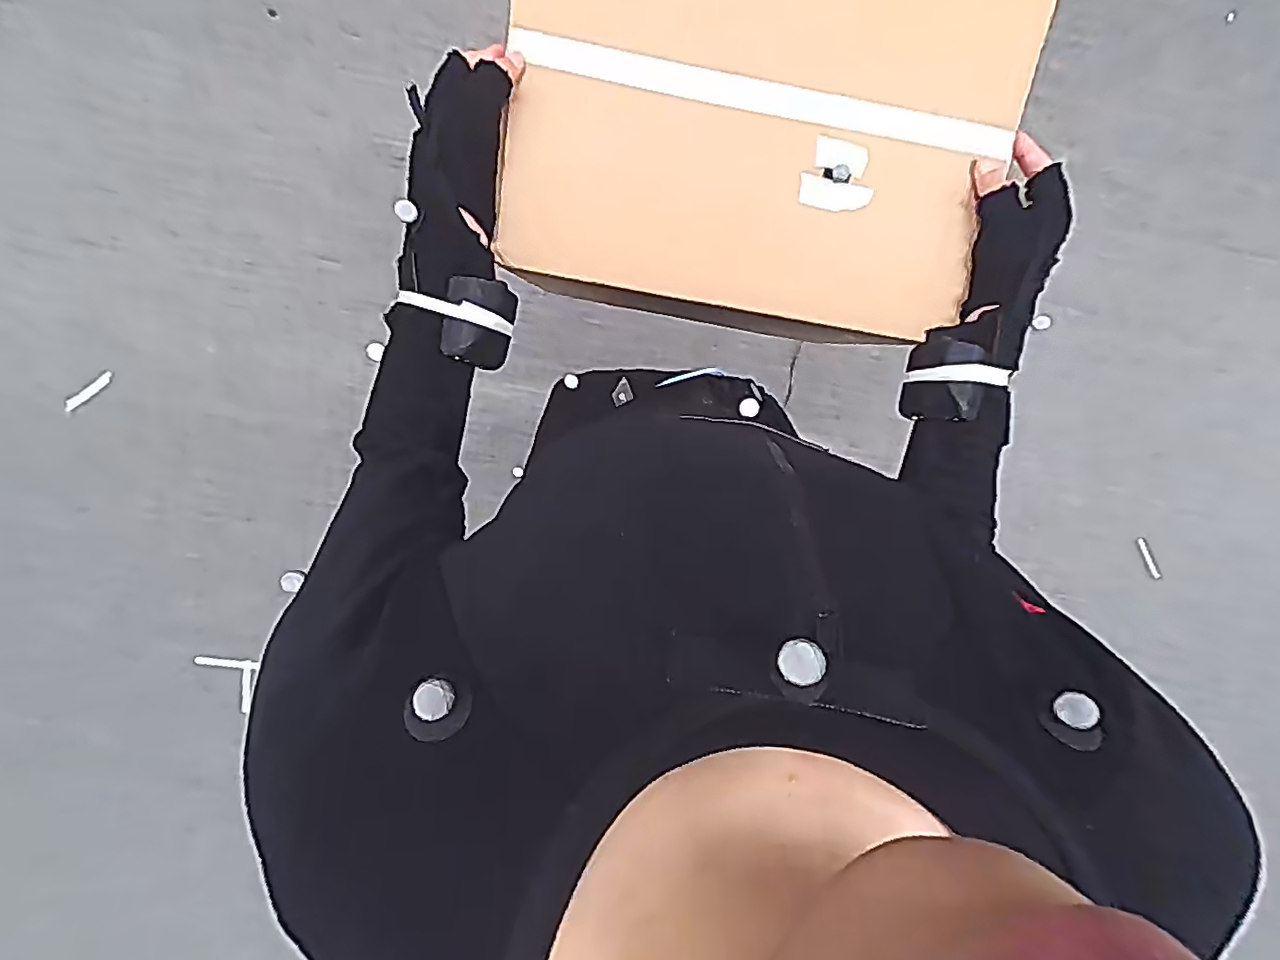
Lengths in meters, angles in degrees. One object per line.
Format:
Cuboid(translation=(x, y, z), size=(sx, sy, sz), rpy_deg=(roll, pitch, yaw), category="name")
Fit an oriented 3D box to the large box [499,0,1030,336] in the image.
Cuboid(translation=(0.089, -0.343, 0.583), size=(0.408, 0.320, 0.320), rpy_deg=(9, 105, -5), category="large box")
